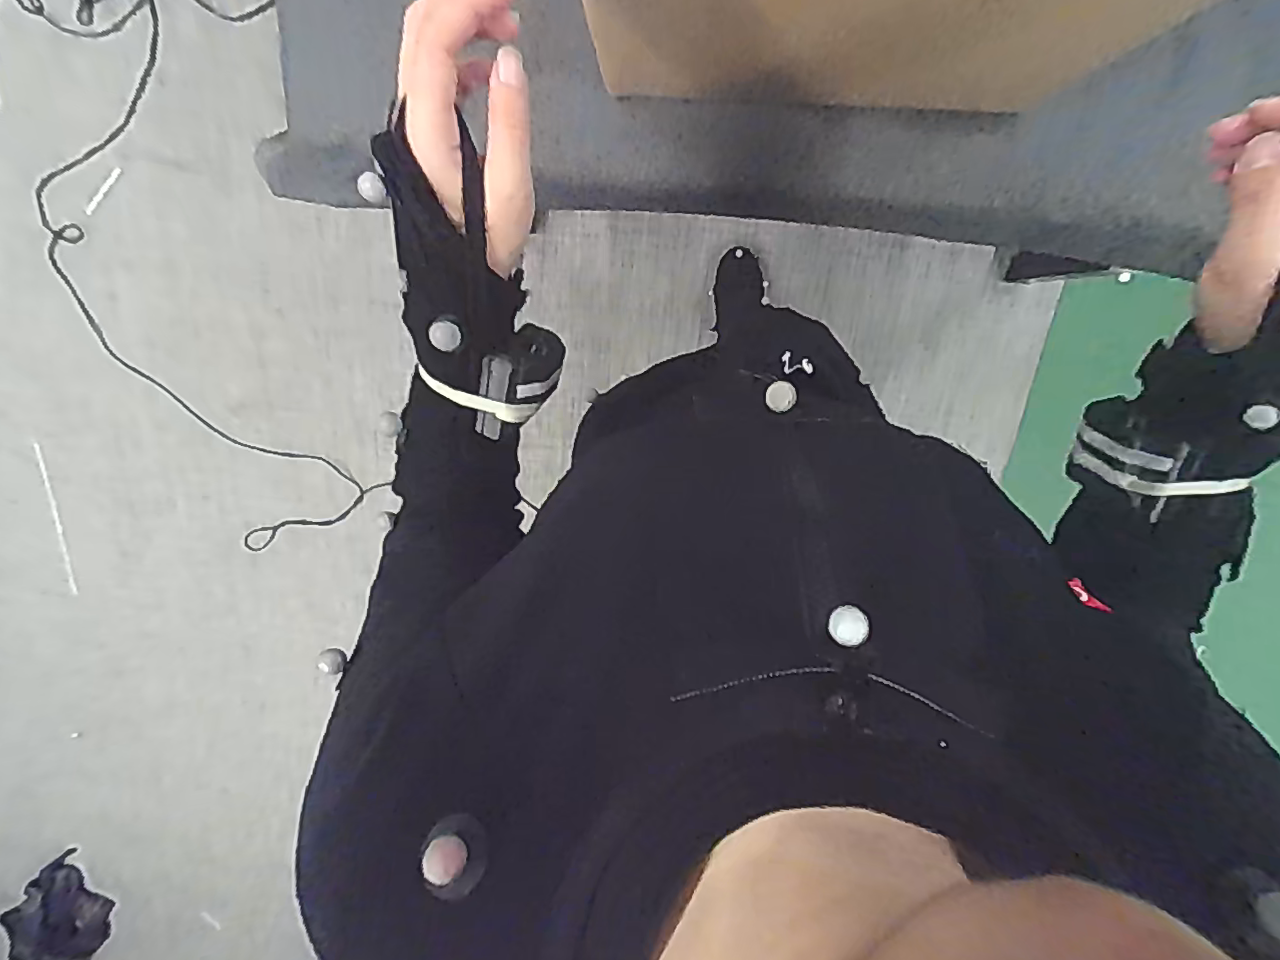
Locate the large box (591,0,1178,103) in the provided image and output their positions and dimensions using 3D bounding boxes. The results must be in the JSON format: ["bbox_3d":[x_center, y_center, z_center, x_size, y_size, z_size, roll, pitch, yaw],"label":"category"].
[{"bbox_3d":[0.165,-0.471,0.338,0.408,0.320,0.320,3,107,1],"label":"large box"}]
